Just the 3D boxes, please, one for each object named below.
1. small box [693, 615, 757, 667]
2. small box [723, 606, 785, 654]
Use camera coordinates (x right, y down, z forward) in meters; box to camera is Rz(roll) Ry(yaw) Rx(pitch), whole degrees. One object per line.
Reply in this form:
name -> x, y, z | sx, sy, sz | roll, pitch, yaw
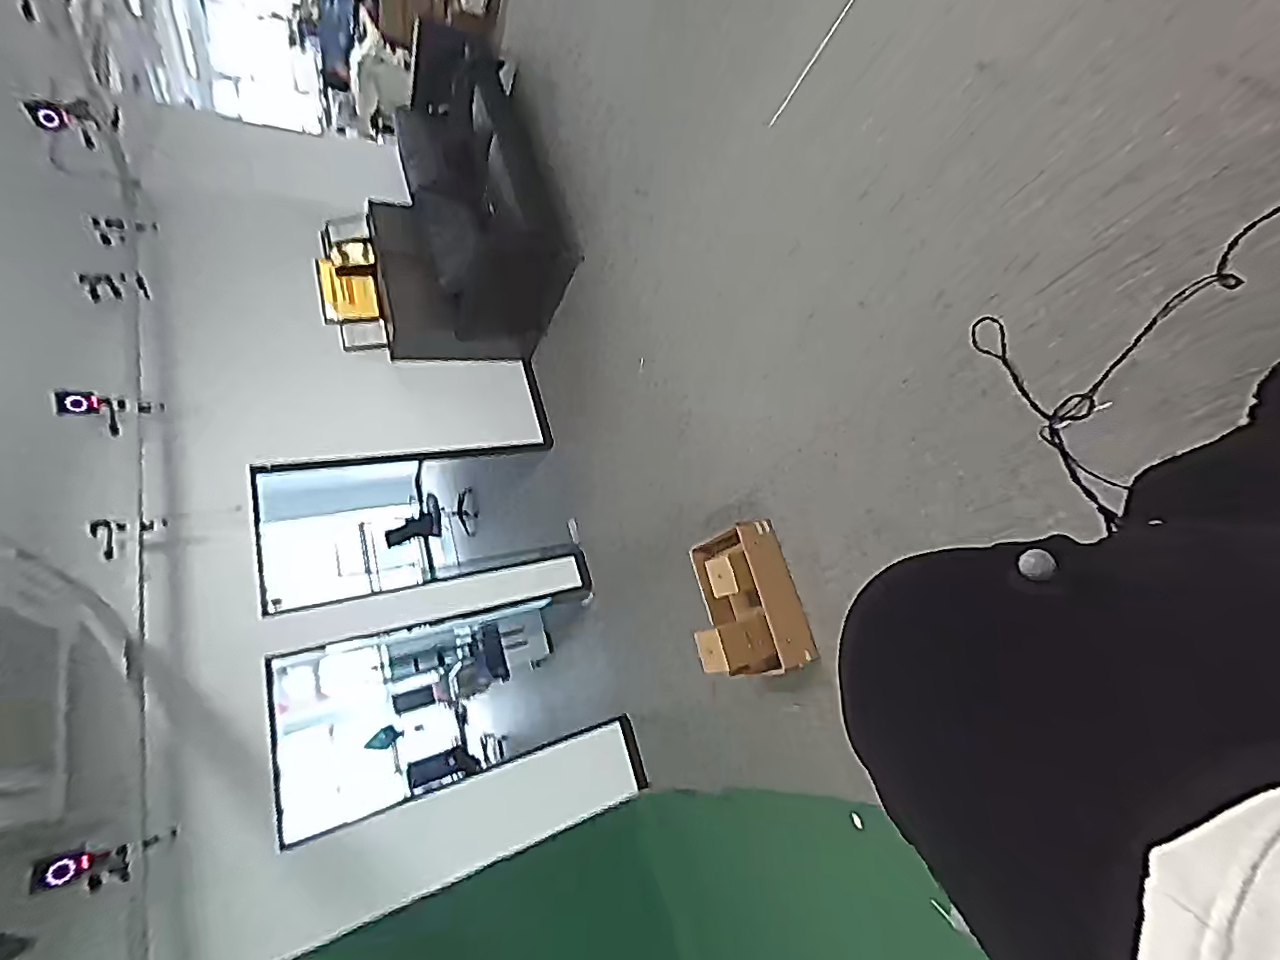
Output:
small box -> 0.350, 0.664, 2.234 | 0.179, 0.176, 0.168 | -37, 65, 55
small box -> 0.488, 0.646, 2.318 | 0.179, 0.176, 0.168 | -37, 65, 57
